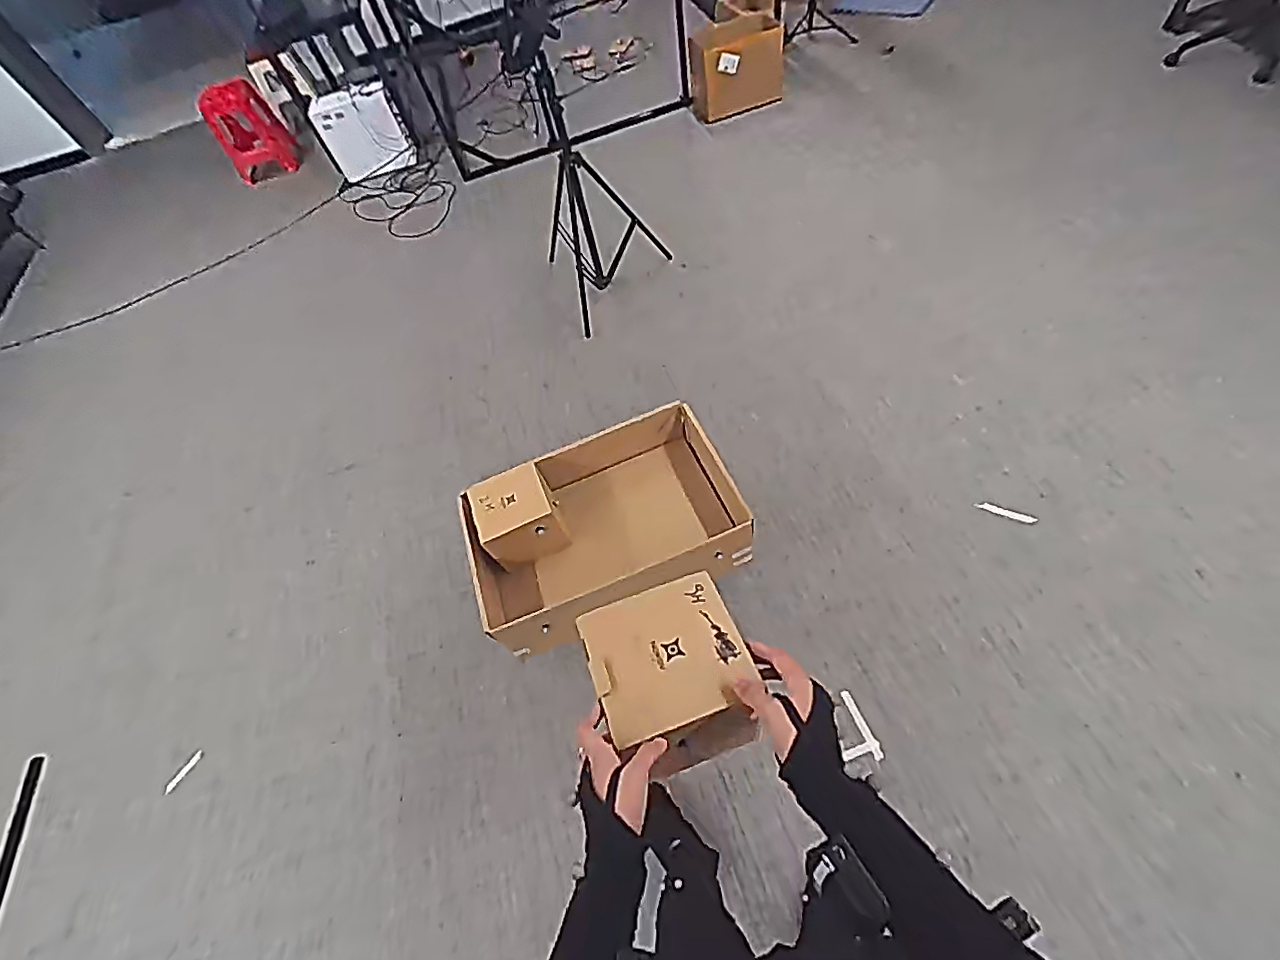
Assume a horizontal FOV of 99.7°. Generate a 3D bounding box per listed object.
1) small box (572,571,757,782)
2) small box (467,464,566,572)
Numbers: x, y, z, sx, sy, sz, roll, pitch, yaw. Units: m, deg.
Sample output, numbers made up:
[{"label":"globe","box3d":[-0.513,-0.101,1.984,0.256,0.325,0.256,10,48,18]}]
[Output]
[{"label":"small box","box3d":[0.033,0.249,0.675,0.179,0.176,0.168,-19,49,-7]},{"label":"small box","box3d":[-0.293,0.097,1.317,0.179,0.176,0.168,-25,56,-4]}]
